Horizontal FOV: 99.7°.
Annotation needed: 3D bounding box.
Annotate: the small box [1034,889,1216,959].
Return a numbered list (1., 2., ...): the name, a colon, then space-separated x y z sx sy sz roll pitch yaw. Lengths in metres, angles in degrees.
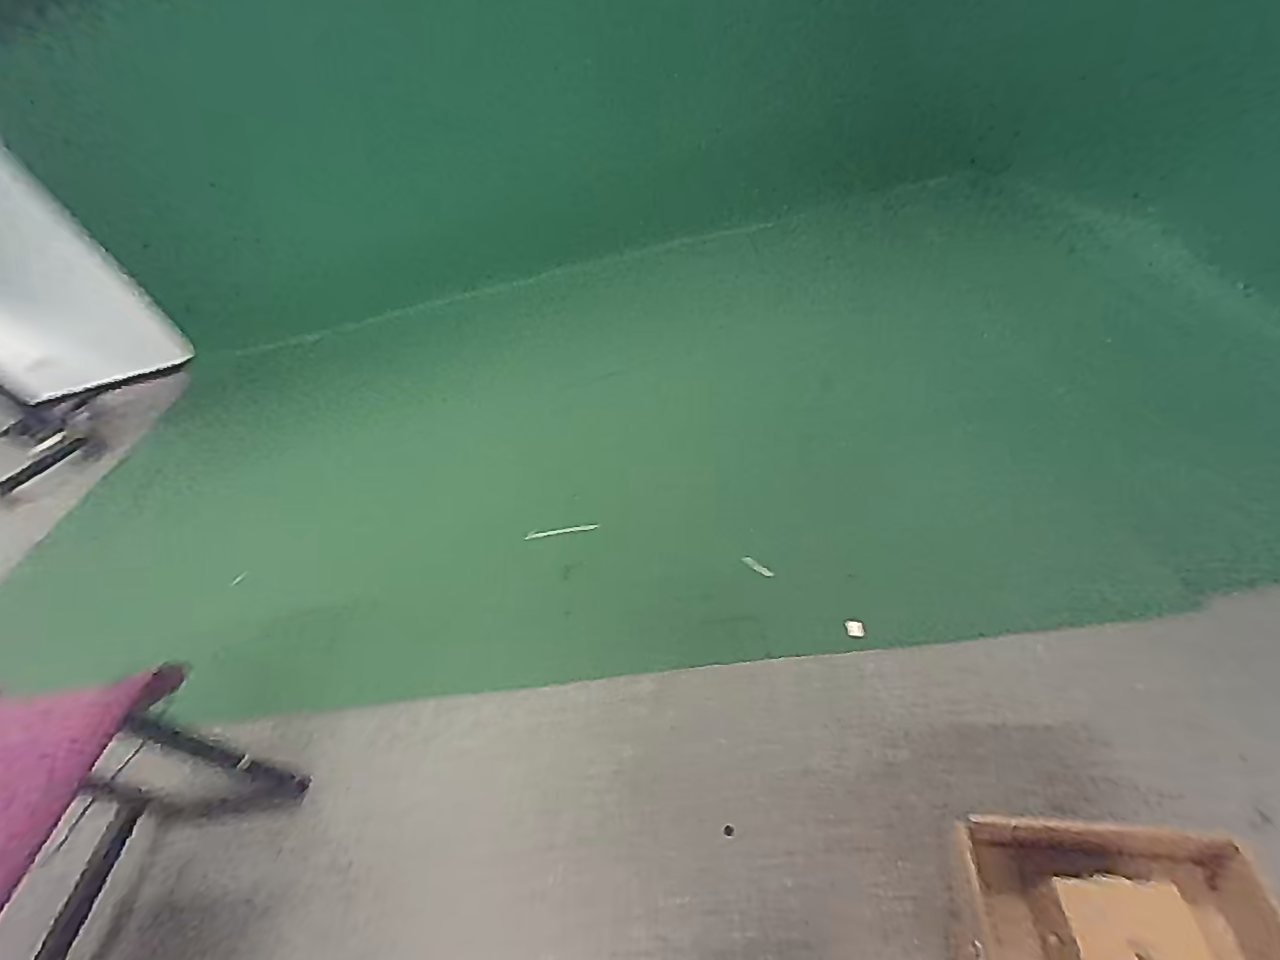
1. small box: 0.720 0.728 0.793 0.168 0.176 0.179 -6 45 13
